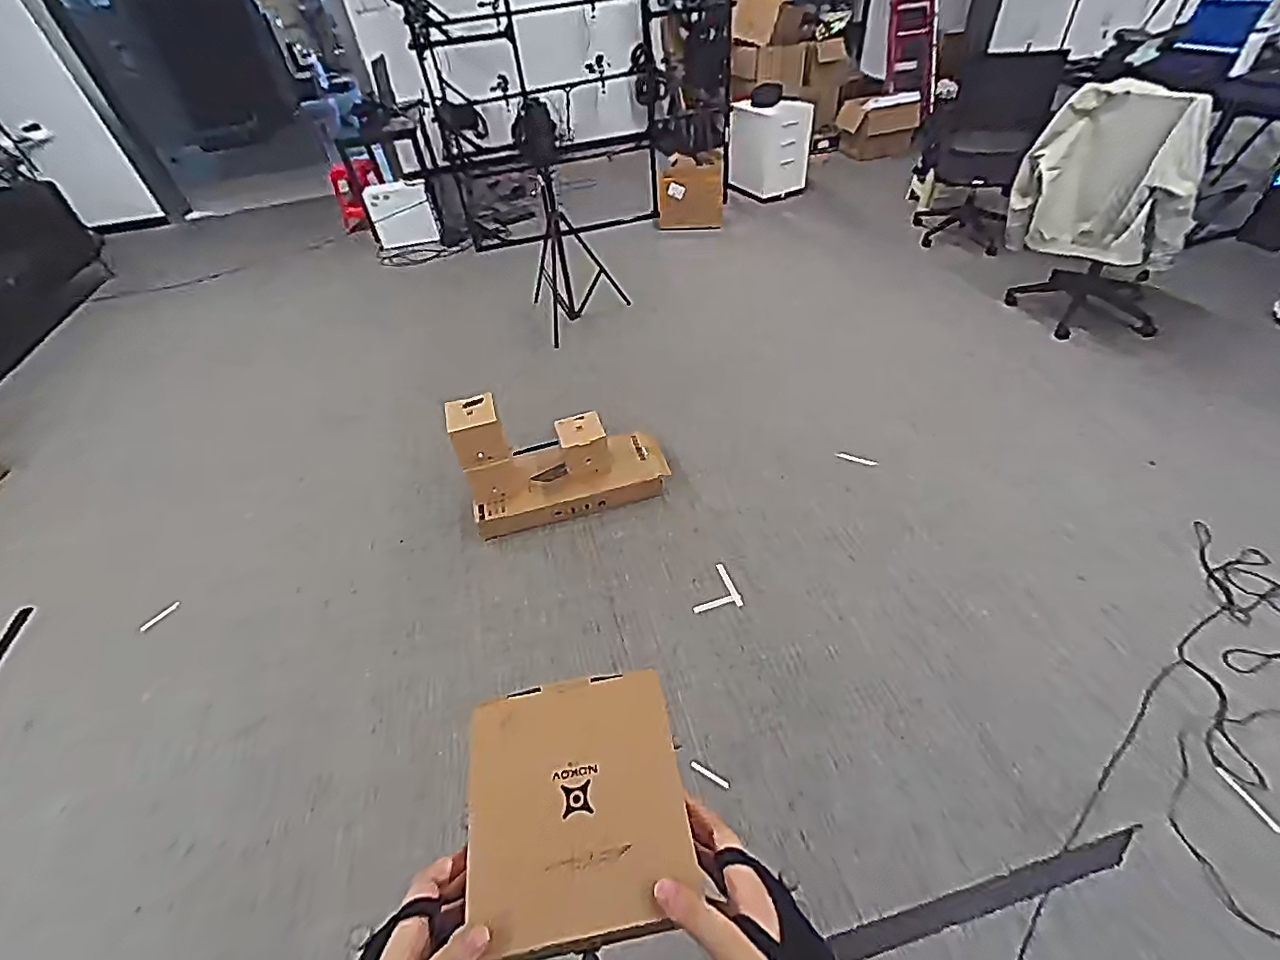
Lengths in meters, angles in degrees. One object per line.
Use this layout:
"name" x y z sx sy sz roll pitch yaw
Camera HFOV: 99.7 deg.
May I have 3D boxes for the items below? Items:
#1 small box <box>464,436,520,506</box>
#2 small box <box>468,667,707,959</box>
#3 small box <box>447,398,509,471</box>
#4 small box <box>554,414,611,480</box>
"small box" -0.550 -0.033 2.007 0.168 0.176 0.179 -15 44 -8
"small box" -0.046 0.295 0.479 0.168 0.176 0.179 -9 48 -6
"small box" -0.571 -0.161 1.905 0.168 0.176 0.179 -16 44 -9
"small box" -0.216 -0.120 2.055 0.168 0.176 0.179 -17 45 -10
